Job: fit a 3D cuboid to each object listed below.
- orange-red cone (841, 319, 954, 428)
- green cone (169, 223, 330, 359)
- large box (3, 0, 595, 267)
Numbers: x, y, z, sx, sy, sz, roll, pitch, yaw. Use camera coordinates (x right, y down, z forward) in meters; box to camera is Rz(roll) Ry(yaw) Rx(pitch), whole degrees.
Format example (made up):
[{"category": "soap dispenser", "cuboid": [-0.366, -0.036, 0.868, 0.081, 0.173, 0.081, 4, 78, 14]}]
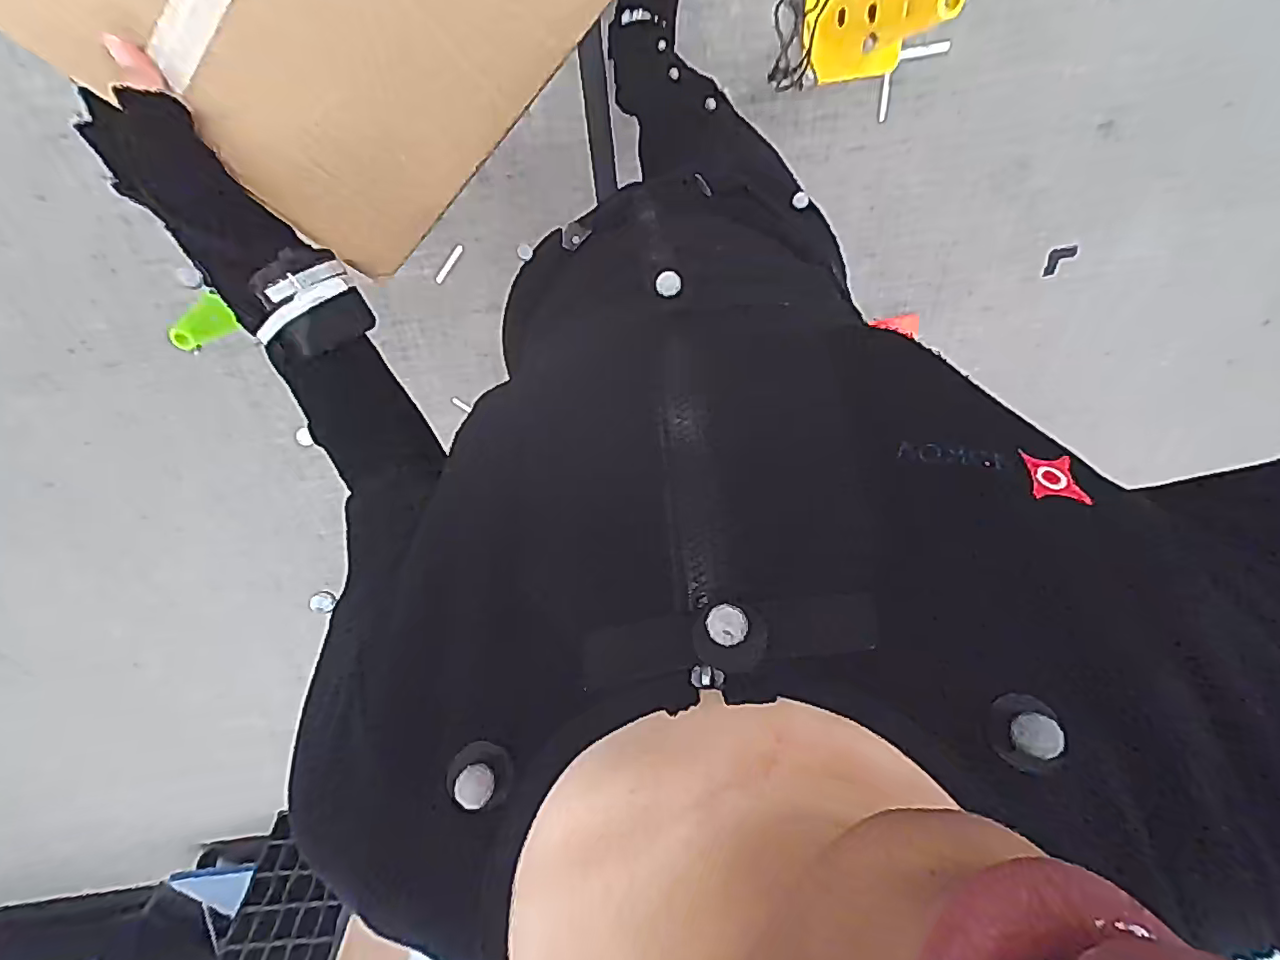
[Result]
[{"category": "orange-red cone", "cuboid": [0.672, -0.238, 1.358, 0.198, 0.360, 0.199, -10, 126, 1]}, {"category": "green cone", "cuboid": [-0.842, -0.352, 1.117, 0.202, 0.368, 0.200, -38, 121, 23]}, {"category": "large box", "cuboid": [-0.186, -0.446, 0.365, 0.408, 0.320, 0.320, -39, 131, 22]}]
